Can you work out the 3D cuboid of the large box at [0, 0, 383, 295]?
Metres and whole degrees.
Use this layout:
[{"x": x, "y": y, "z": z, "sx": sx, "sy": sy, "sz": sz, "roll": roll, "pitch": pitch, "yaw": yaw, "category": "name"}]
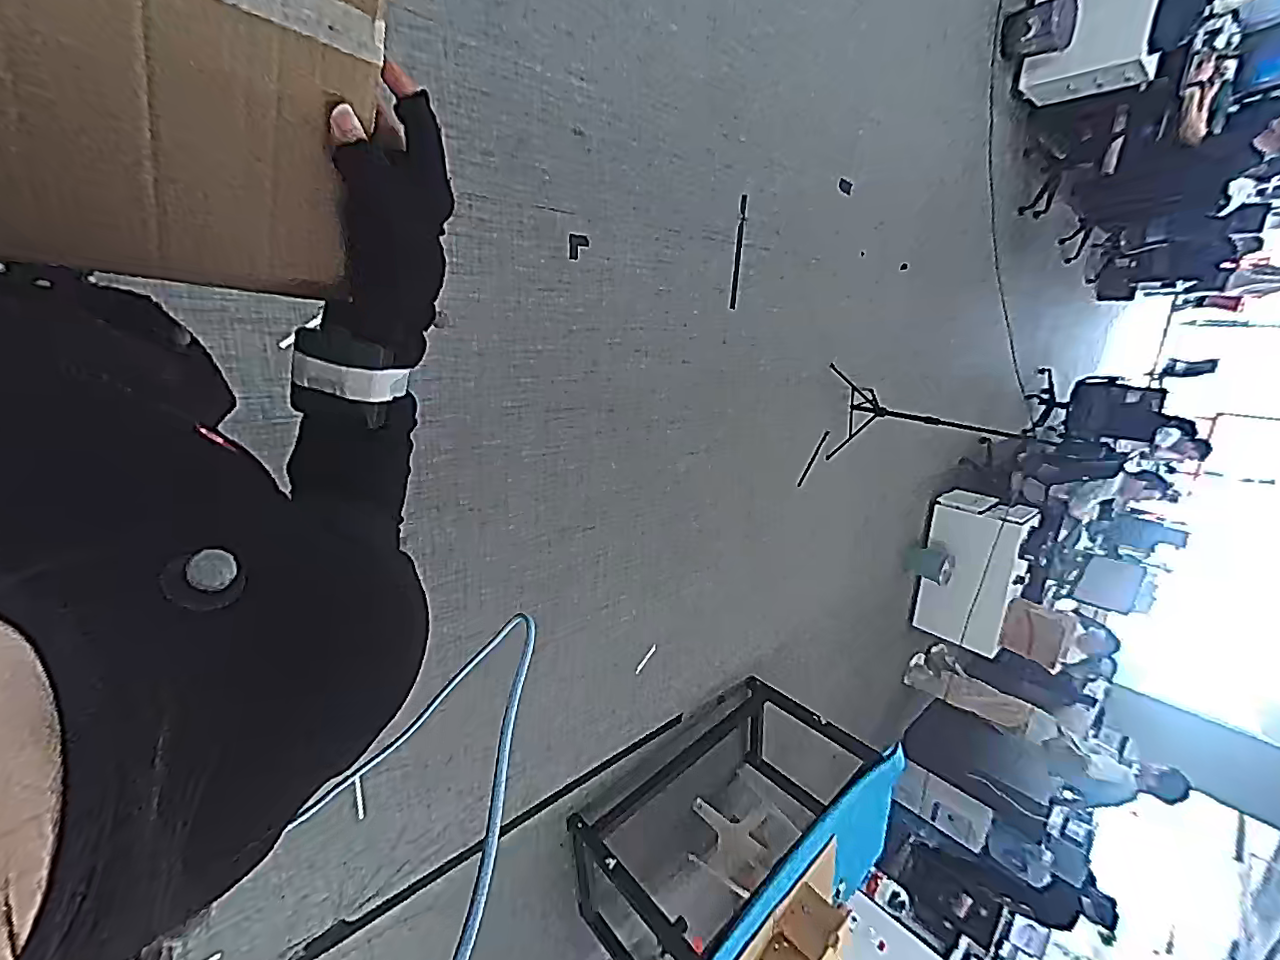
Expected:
[{"x": -0.380, "y": -0.326, "z": 0.257, "sx": 0.408, "sy": 0.320, "sz": 0.320, "roll": -6, "pitch": 135, "yaw": -42, "category": "large box"}]
